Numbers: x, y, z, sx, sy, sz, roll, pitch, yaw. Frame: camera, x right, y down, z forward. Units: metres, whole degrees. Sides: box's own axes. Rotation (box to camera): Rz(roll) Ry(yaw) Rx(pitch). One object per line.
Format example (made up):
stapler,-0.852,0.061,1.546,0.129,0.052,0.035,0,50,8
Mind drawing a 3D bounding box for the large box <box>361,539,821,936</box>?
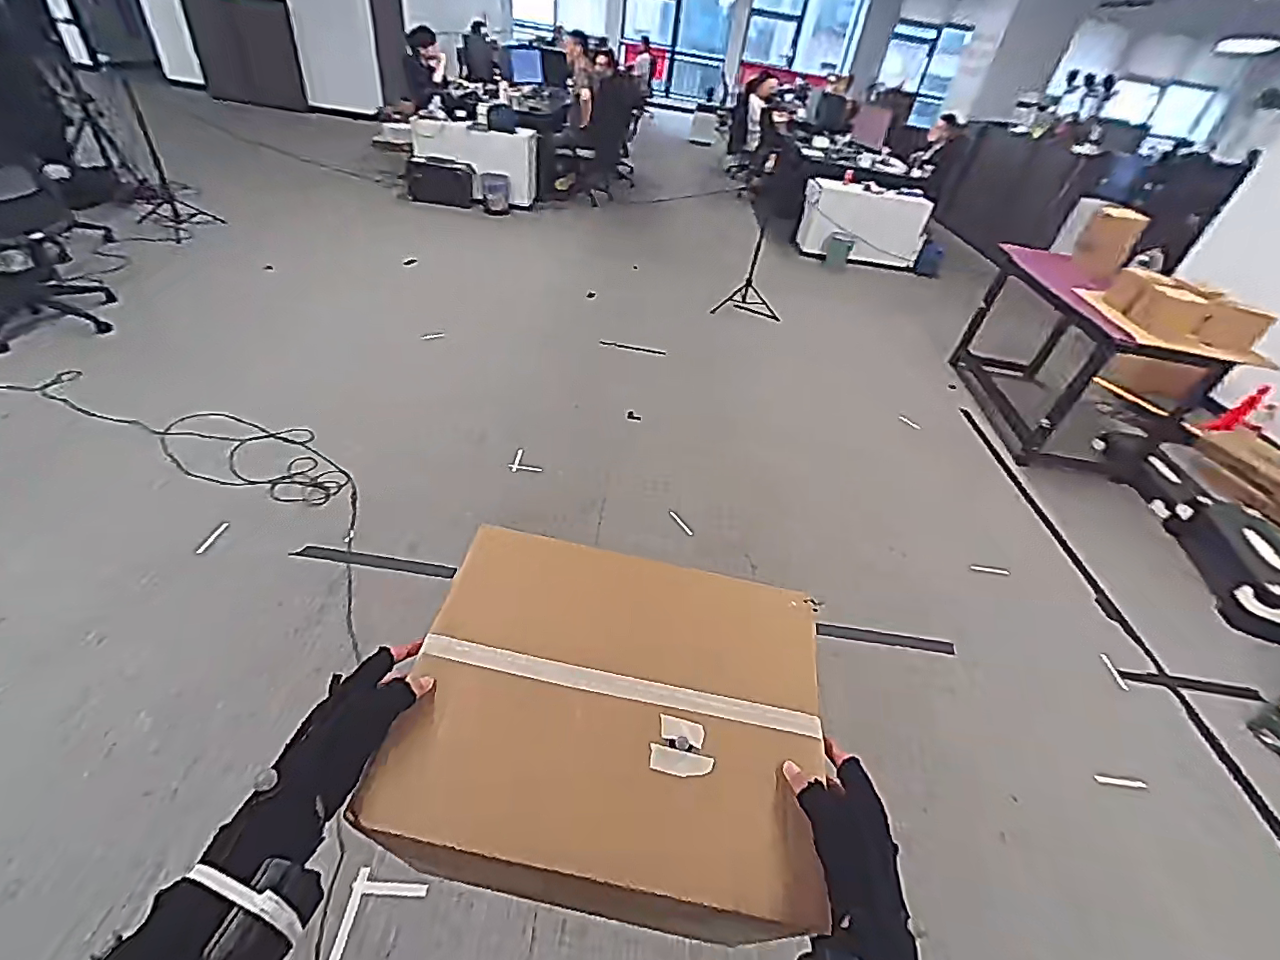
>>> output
large box,-0.042,0.315,0.660,0.408,0.320,0.320,12,48,1
